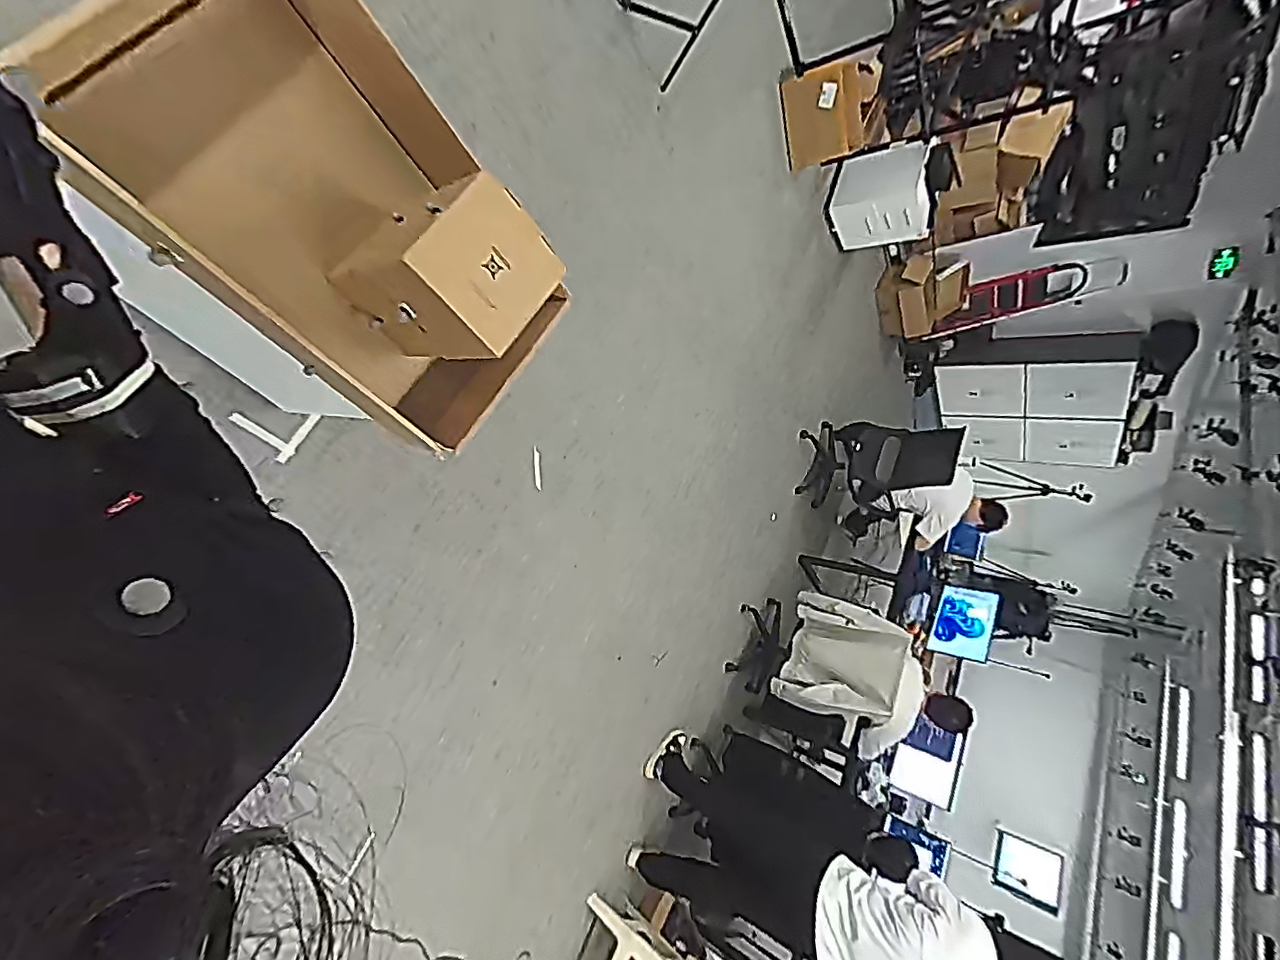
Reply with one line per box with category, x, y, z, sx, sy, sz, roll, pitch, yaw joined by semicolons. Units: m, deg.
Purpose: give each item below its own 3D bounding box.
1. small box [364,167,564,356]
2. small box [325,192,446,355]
small box;-0.247;-0.293;0.757;0.168;0.176;0.179;48;66;-39
small box;-0.360;-0.324;0.872;0.179;0.176;0.168;49;64;-41
